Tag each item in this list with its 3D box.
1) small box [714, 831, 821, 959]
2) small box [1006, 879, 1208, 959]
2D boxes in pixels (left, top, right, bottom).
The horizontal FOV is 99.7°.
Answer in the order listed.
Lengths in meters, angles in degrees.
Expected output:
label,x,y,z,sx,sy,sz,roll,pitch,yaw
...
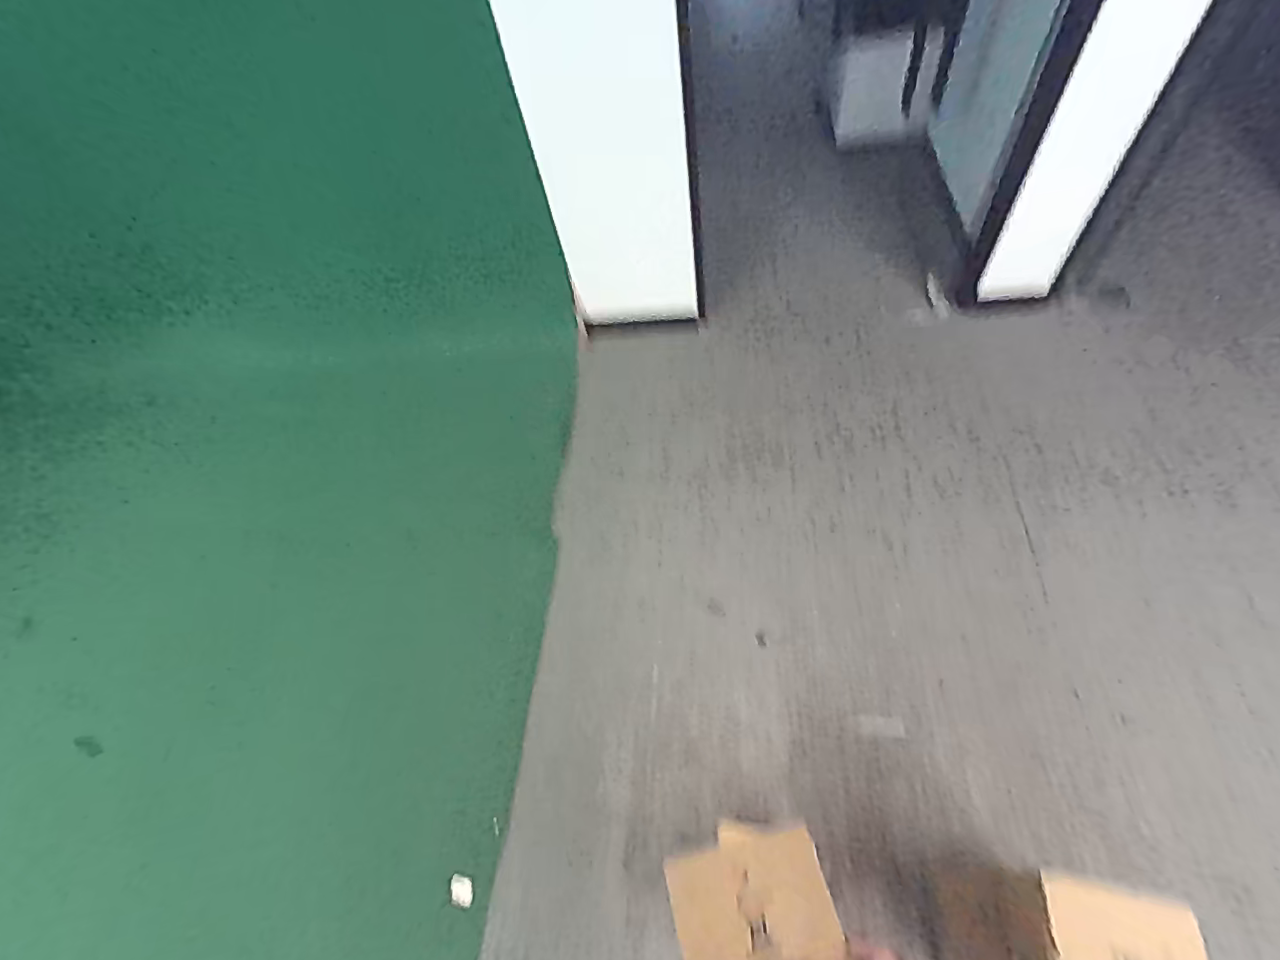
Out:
label,x,y,z,sx,sy,sz,roll,pitch,yaw
small box,0.223,0.745,0.959,0.168,0.176,0.179,5,57,13
small box,0.628,0.666,0.738,0.179,0.176,0.168,5,58,14
